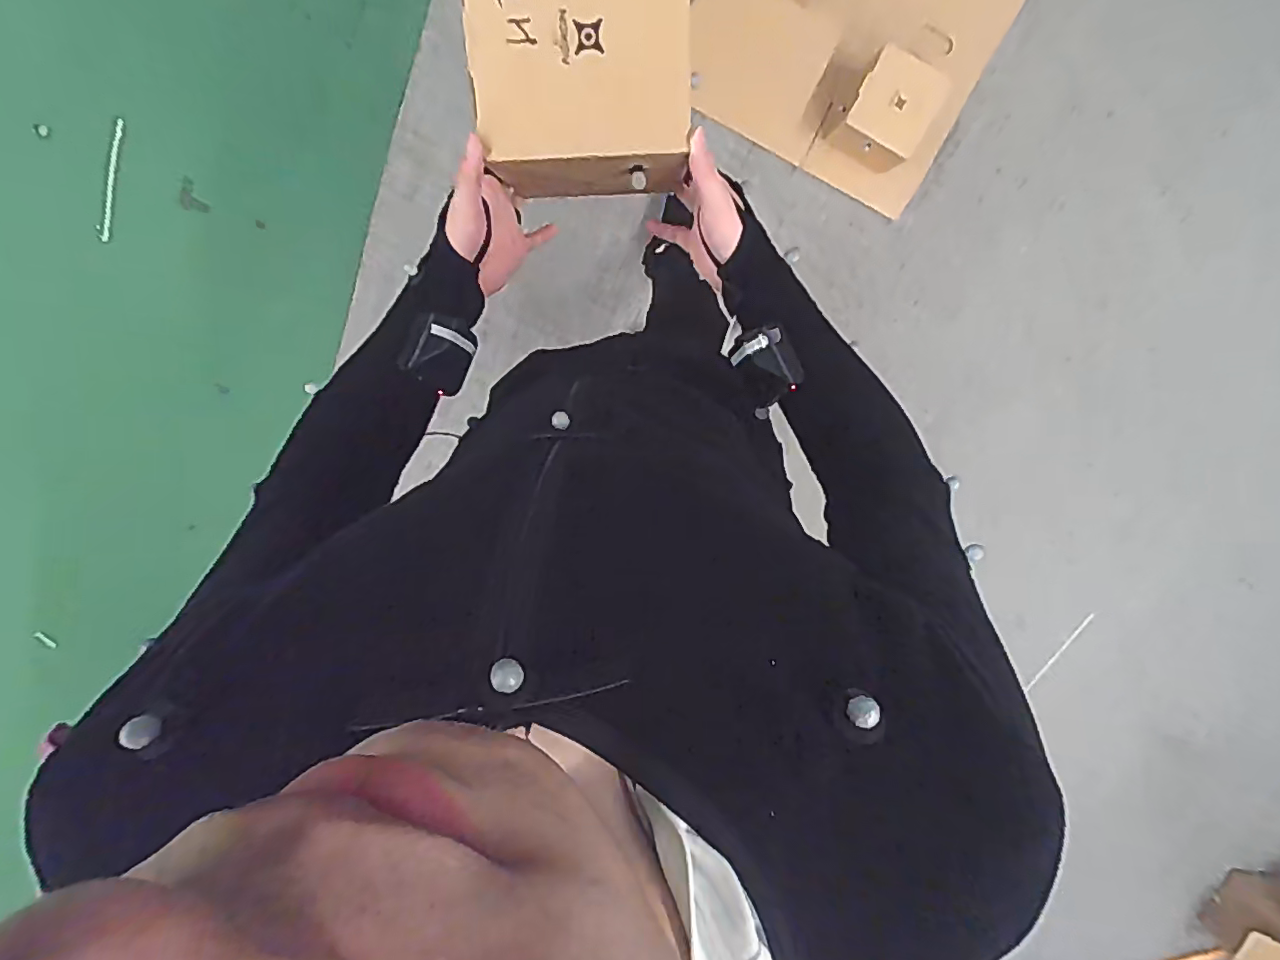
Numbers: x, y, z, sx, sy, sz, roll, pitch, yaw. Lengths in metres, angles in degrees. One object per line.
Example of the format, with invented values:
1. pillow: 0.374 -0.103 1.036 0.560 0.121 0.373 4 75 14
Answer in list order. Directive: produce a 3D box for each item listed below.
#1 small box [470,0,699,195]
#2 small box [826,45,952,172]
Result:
1. small box: -0.042 -0.367 0.491 0.179 0.176 0.168 -2 107 1
2. small box: 0.564 -0.846 1.255 0.179 0.176 0.168 26 108 -7
